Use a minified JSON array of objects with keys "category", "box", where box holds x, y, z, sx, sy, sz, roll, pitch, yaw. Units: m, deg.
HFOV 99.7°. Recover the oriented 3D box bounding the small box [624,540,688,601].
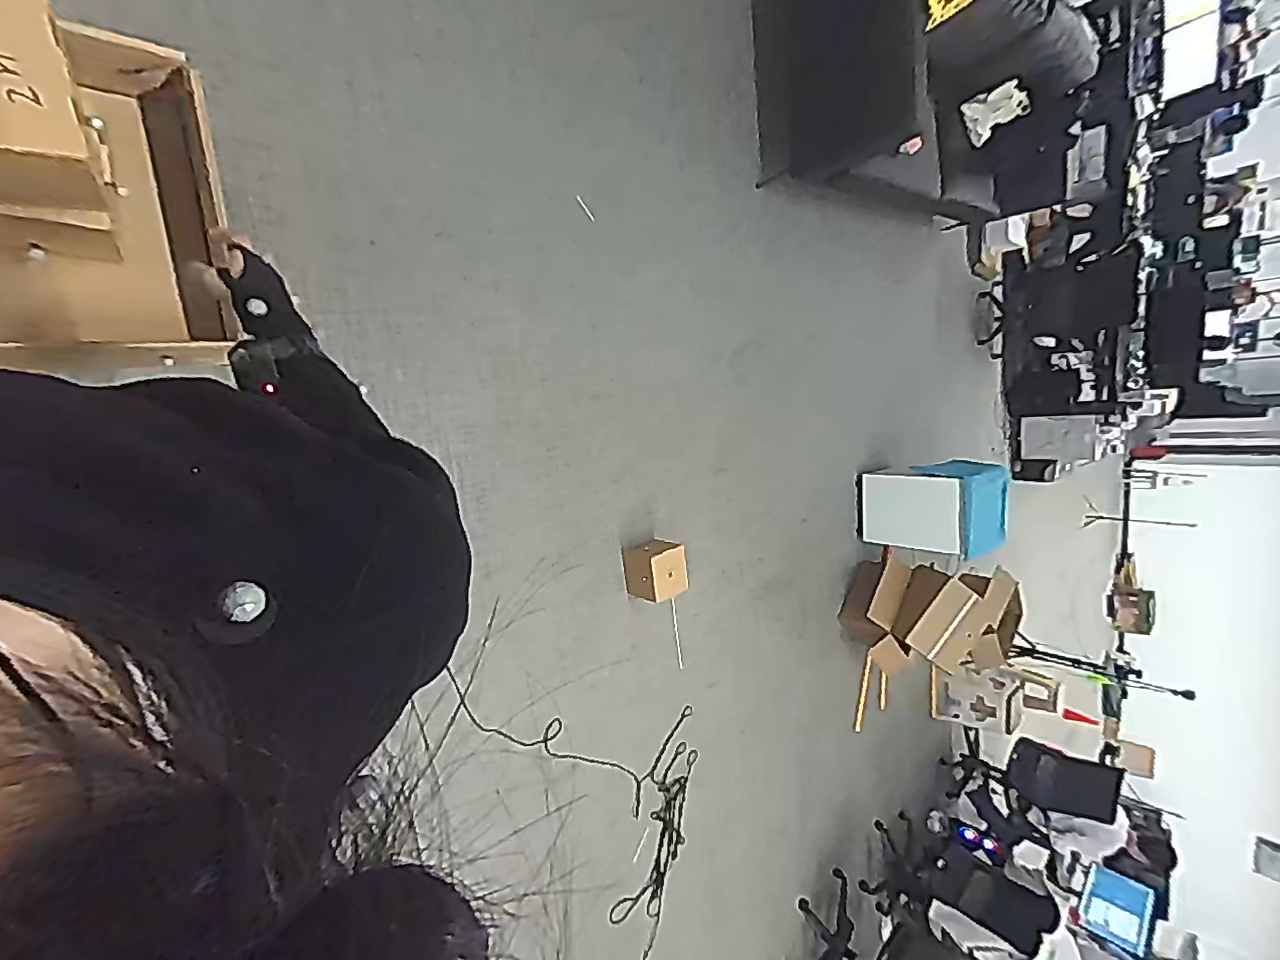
[{"category":"small box","box":[0.056,0.327,2.010,0.168,0.176,0.179,-14,103,-39]}]
